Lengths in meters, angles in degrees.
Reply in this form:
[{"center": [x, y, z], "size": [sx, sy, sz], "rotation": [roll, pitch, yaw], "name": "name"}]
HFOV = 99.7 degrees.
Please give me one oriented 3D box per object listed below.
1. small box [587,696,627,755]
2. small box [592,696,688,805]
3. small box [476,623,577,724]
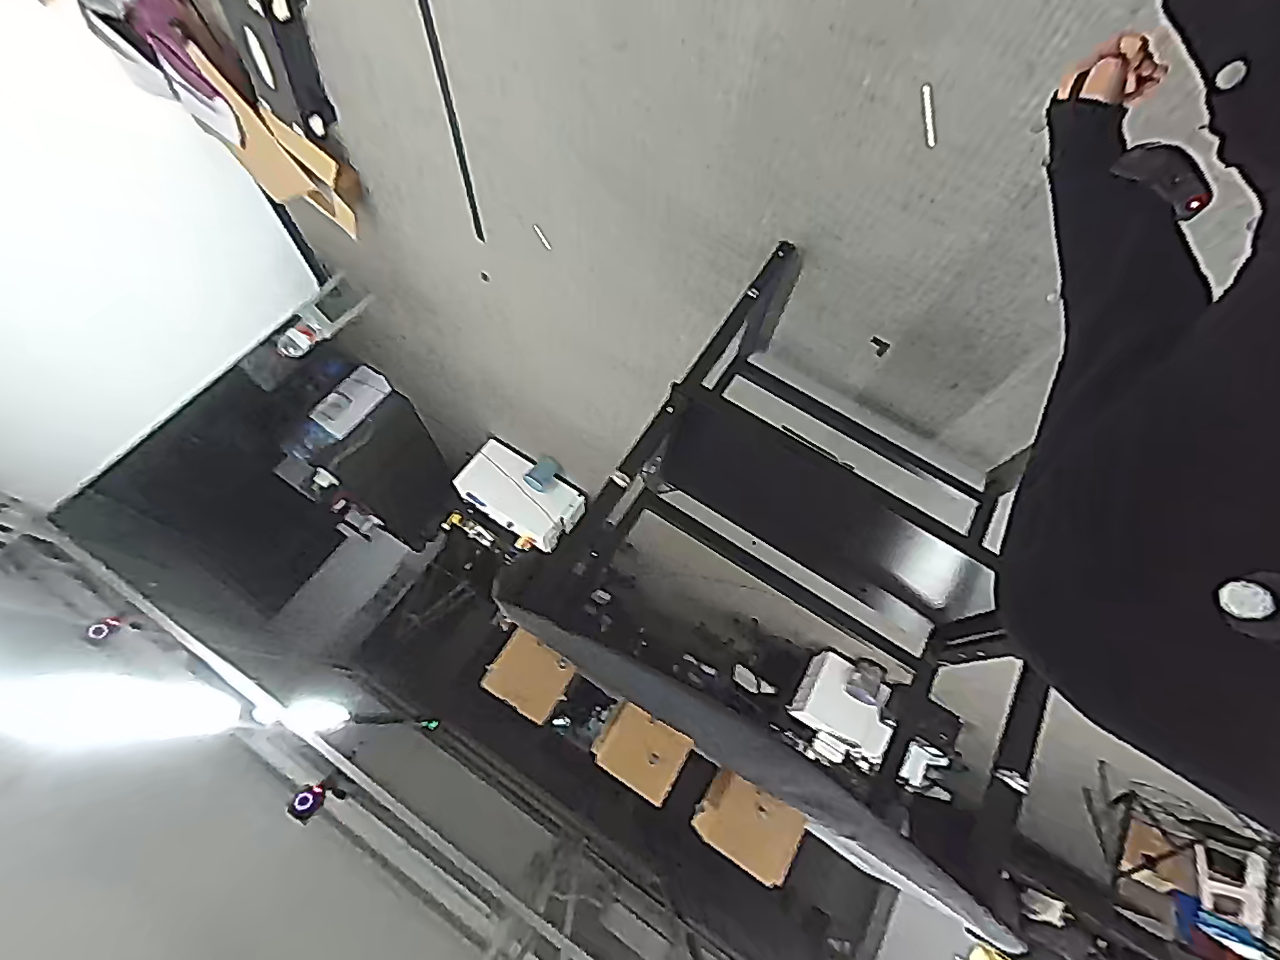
[{"center": [-0.033, 0.728, 1.522], "size": [0.168, 0.176, 0.179], "rotation": [31, 158, 10], "name": "small box"}, {"center": [-0.001, 0.634, 1.288], "size": [0.168, 0.176, 0.179], "rotation": [31, 160, 9], "name": "small box"}, {"center": [-0.266, 0.463, 1.311], "size": [0.168, 0.176, 0.179], "rotation": [32, 161, 6], "name": "small box"}]
